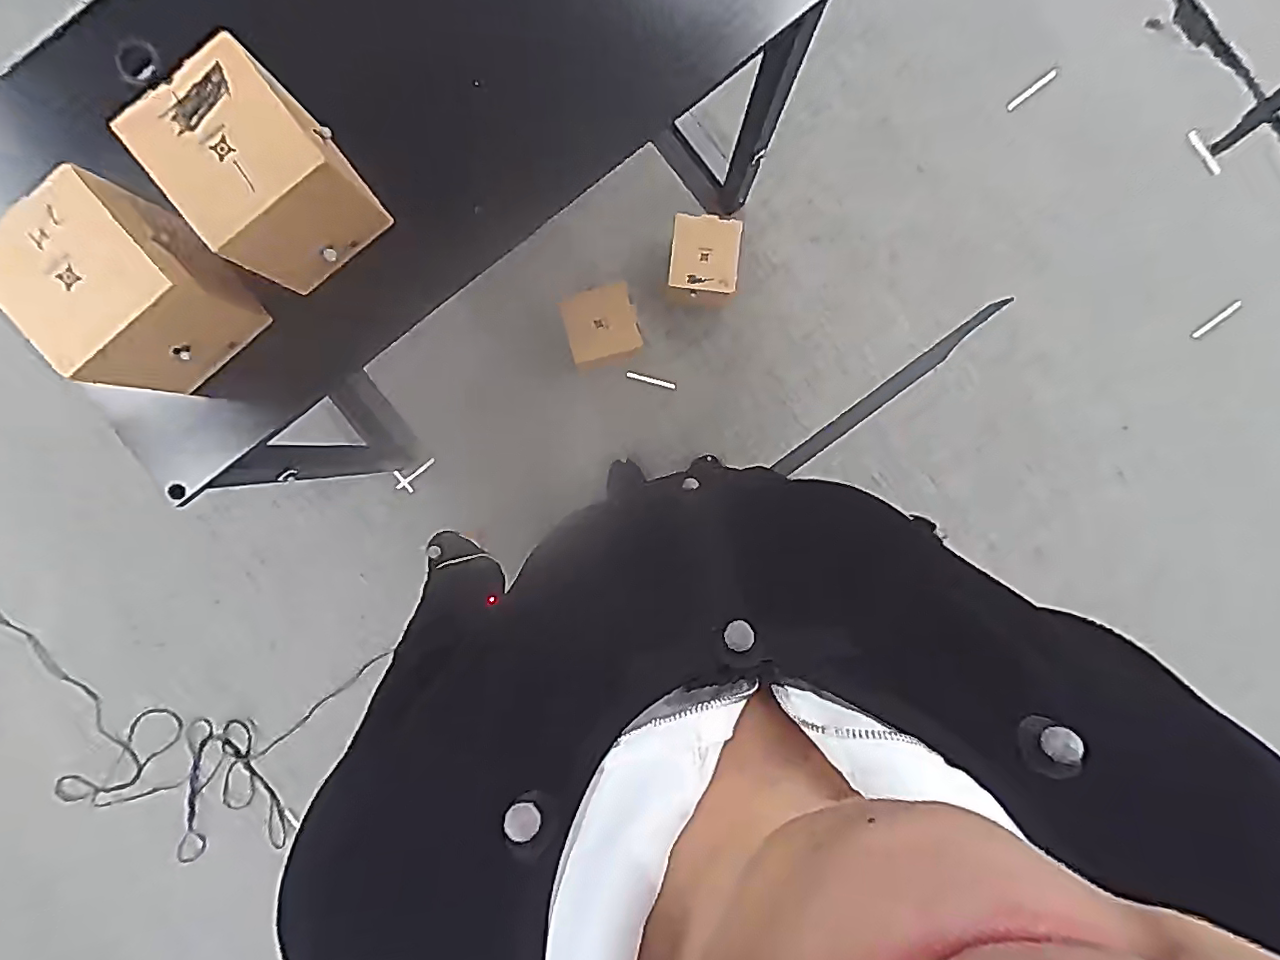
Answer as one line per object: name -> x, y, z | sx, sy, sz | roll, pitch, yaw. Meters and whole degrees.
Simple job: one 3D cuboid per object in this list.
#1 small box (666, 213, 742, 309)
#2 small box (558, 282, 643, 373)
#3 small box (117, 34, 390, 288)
small box -> 0.157, -0.554, 1.386 | 0.168, 0.176, 0.179 | 6, 94, 0
small box -> -0.097, -0.388, 1.399 | 0.179, 0.176, 0.168 | -17, 93, 2
small box -> -0.456, -0.372, 0.669 | 0.168, 0.176, 0.179 | -38, 93, 2
